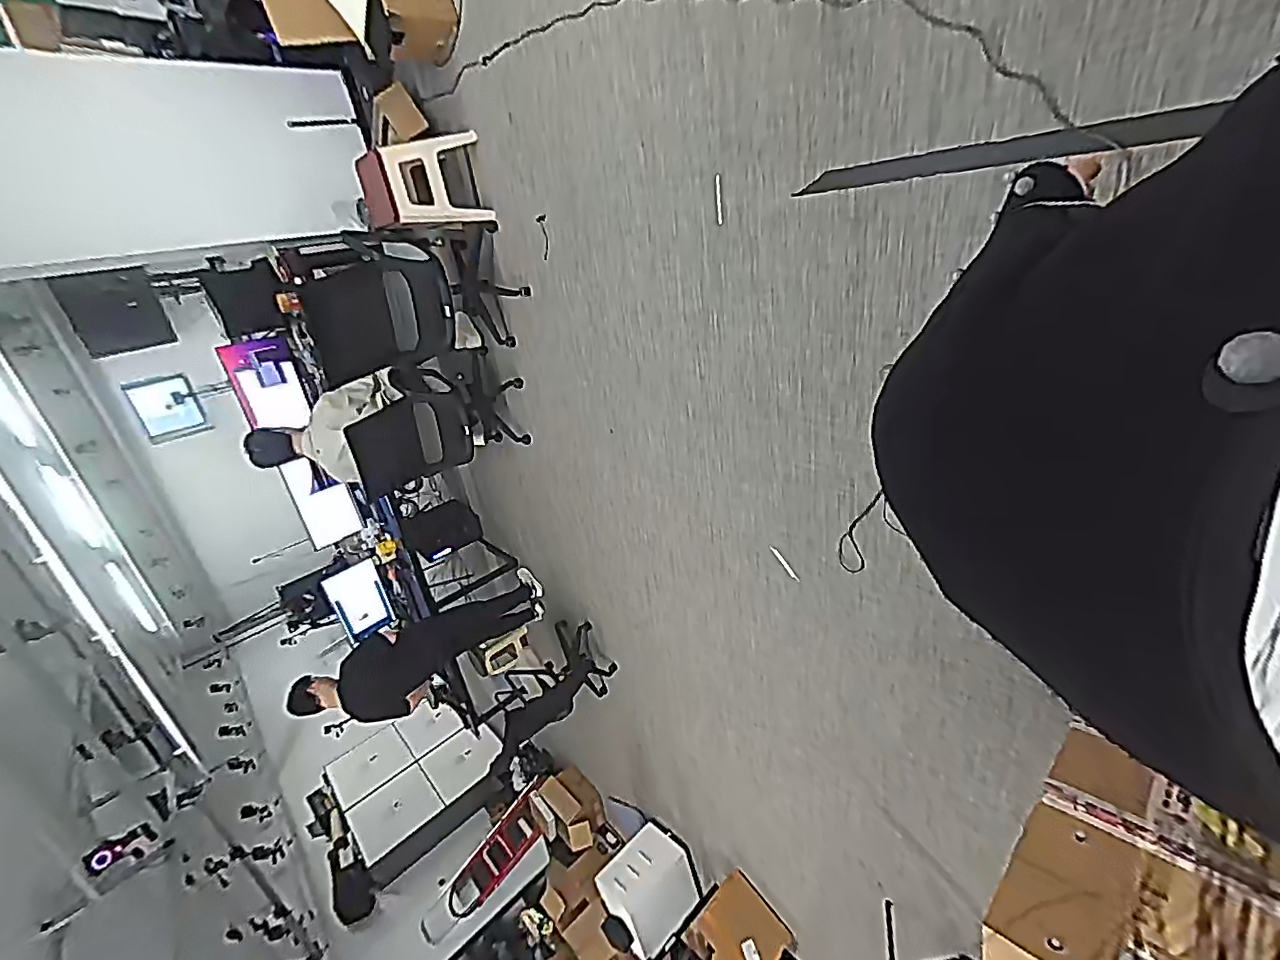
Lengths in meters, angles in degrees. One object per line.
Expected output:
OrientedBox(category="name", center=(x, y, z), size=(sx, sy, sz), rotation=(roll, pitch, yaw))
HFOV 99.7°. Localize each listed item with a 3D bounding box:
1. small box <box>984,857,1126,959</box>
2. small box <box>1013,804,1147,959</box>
OrientedBox(category="small box", center=(0.752, 0.843, 0.981), size=(0.179, 0.176, 0.168), rotation=(9, 115, 50))
OrientedBox(category="small box", center=(0.875, 0.794, 1.081), size=(0.179, 0.176, 0.168), rotation=(9, 116, 50))
